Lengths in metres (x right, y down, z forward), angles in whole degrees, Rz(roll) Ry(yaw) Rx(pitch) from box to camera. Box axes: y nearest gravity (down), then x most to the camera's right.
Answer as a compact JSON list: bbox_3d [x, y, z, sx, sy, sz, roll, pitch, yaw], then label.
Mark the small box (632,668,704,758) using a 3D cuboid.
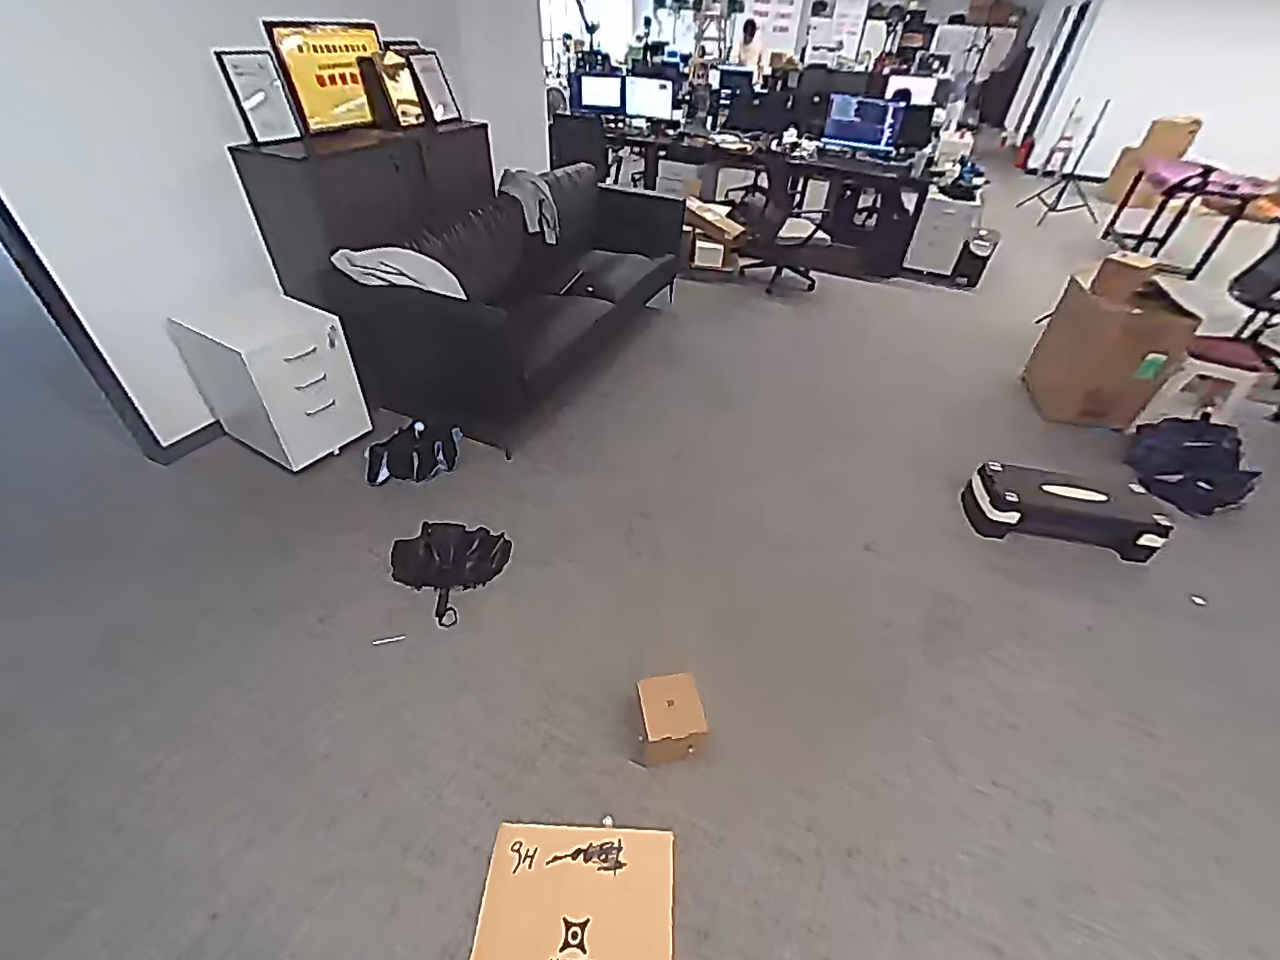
[{"bbox_3d":[0.074,0.671,1.545,0.168,0.176,0.179,-5,39,-12],"label":"small box"}]
